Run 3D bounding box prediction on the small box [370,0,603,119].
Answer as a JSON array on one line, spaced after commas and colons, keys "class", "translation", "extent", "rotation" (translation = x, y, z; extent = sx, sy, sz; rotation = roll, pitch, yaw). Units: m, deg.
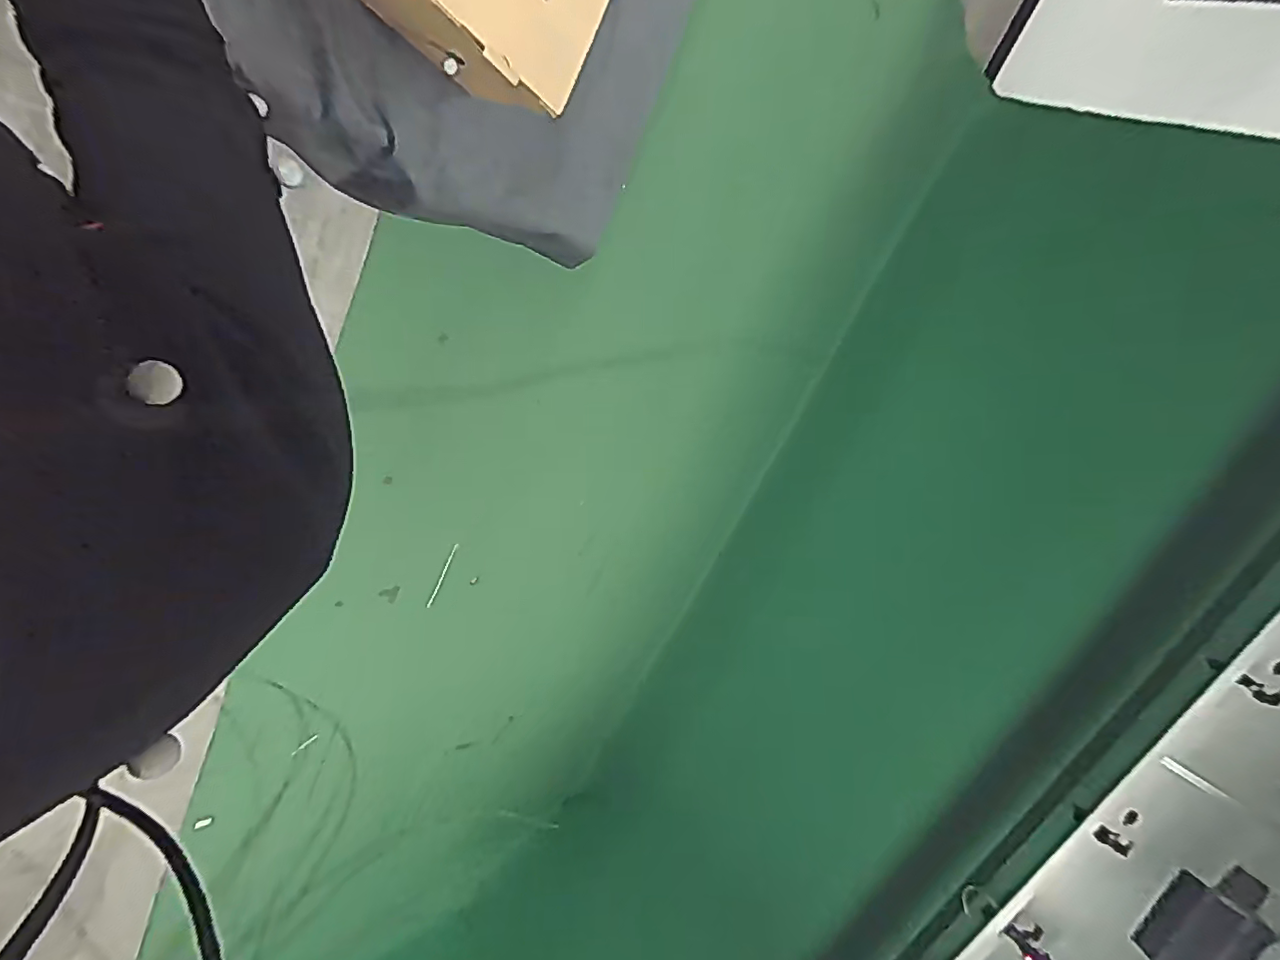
[{"class": "small box", "translation": [-0.163, -0.527, 0.567], "extent": [0.168, 0.176, 0.179], "rotation": [8, 113, -57]}]
